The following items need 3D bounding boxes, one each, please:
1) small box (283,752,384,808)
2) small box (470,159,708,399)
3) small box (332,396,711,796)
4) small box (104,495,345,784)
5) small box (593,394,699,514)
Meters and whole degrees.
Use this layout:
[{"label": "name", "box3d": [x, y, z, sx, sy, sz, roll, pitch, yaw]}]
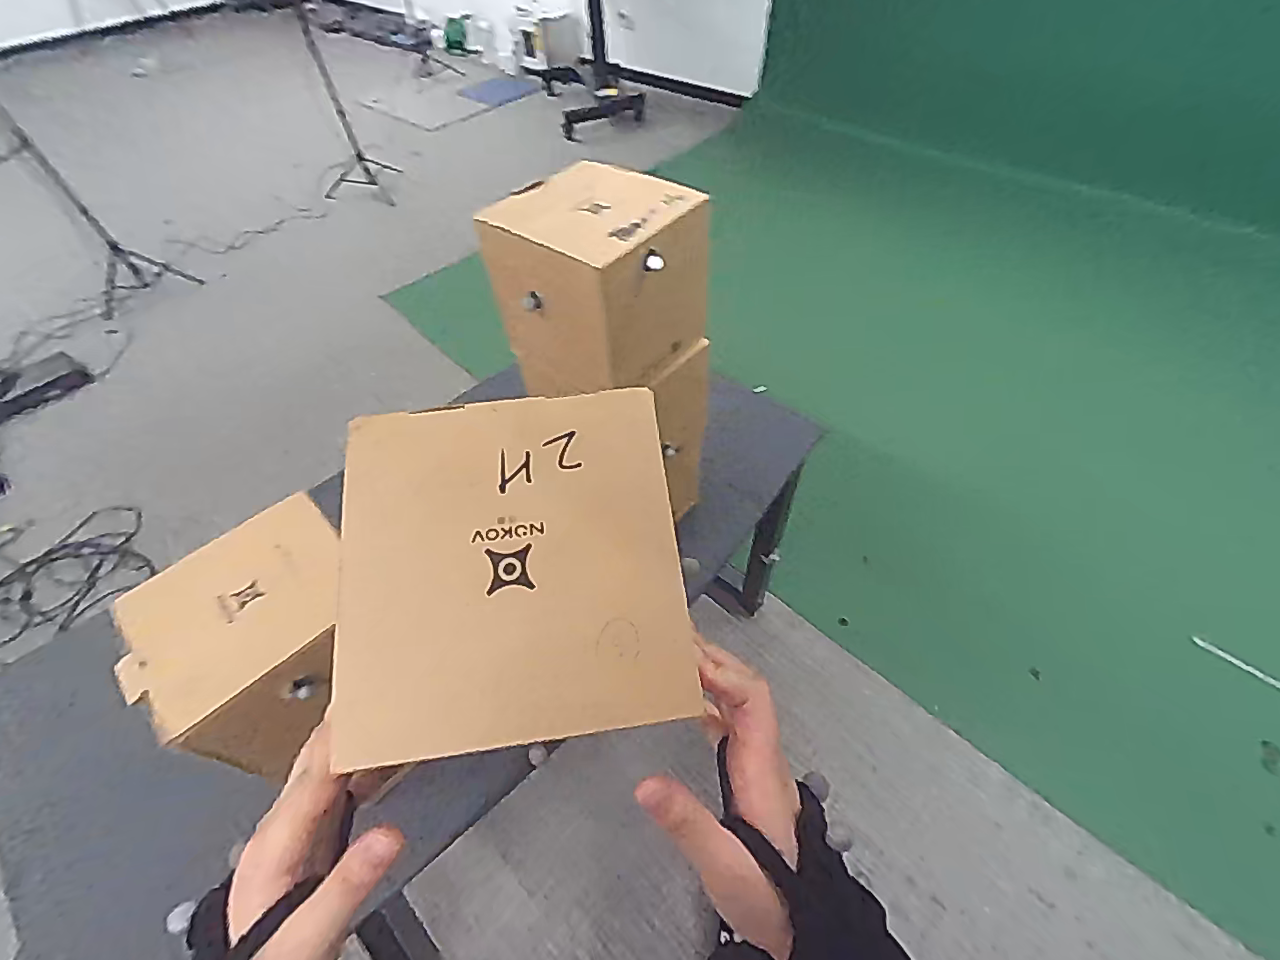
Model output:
[{"label": "small box", "box3d": [-0.330, 0.254, 0.650, 0.168, 0.176, 0.179, 36, 62, 28]}, {"label": "small box", "box3d": [-0.046, -0.214, 0.583, 0.179, 0.176, 0.168, 31, 60, 26]}, {"label": "small box", "box3d": [-0.060, 0.071, 0.333, 0.168, 0.176, 0.179, -6, 69, -5]}, {"label": "small box", "box3d": [-0.337, 0.156, 0.521, 0.168, 0.176, 0.179, 37, 61, 27]}, {"label": "small box", "box3d": [-0.026, -0.011, 0.840, 0.179, 0.176, 0.168, 35, 61, 28]}]
